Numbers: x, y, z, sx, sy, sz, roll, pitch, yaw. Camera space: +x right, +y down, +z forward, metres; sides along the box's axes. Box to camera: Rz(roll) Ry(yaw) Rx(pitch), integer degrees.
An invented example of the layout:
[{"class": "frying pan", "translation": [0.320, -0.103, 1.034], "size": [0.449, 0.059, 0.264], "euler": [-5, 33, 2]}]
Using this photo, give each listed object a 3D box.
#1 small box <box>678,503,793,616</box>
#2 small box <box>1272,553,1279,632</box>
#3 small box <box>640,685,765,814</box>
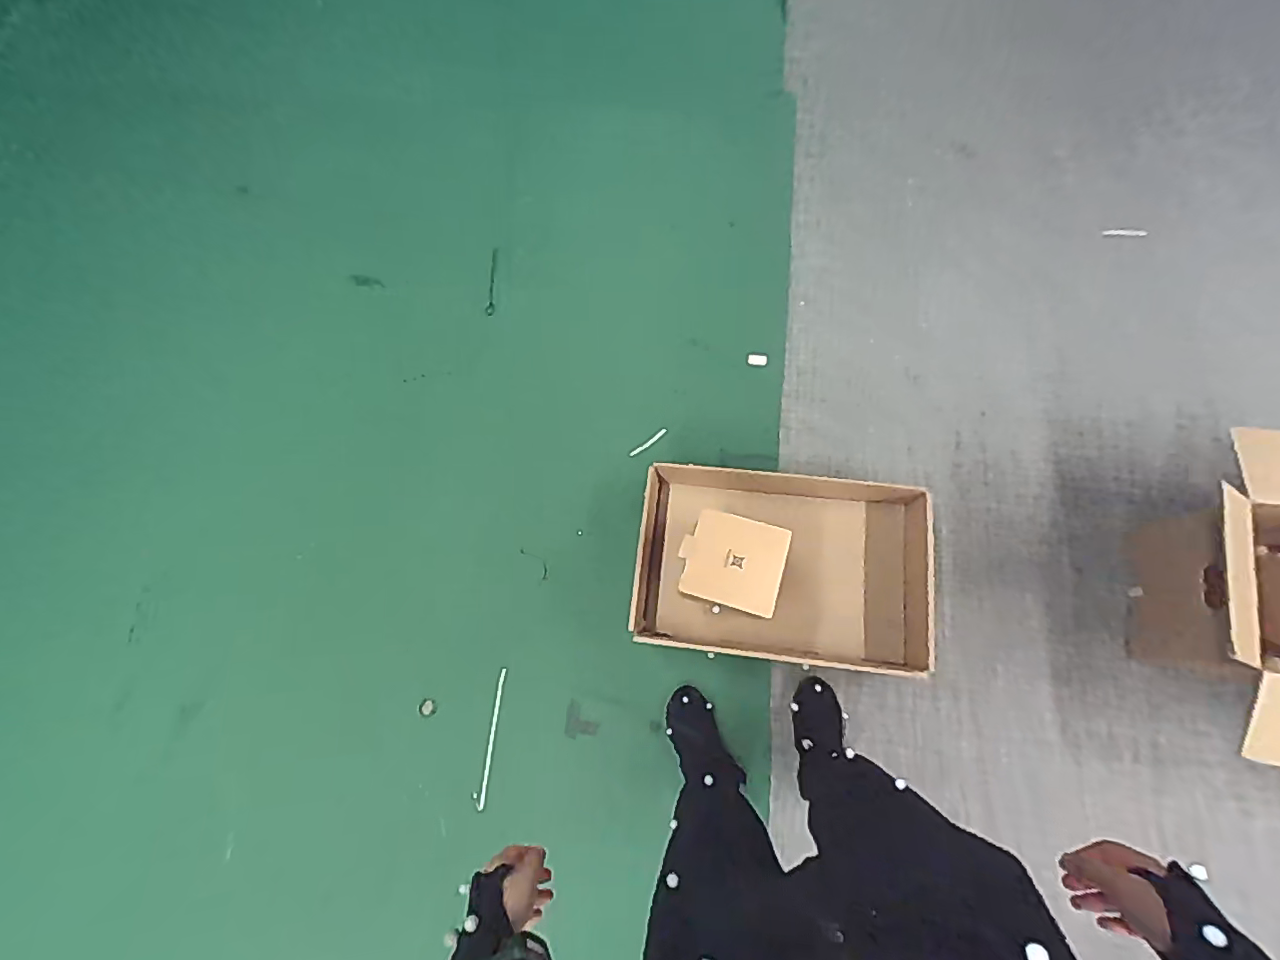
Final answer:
[{"class": "small box", "translation": [0.180, 0.160, 1.059], "size": [0.179, 0.176, 0.168], "euler": [15, 76, 9]}, {"class": "small box", "translation": [1.292, 0.224, 0.956], "size": [0.168, 0.176, 0.179], "euler": [15, 78, 6]}, {"class": "small box", "translation": [0.140, 0.567, 1.155], "size": [0.176, 0.168, 0.179], "euler": [44, 56, -14]}]
